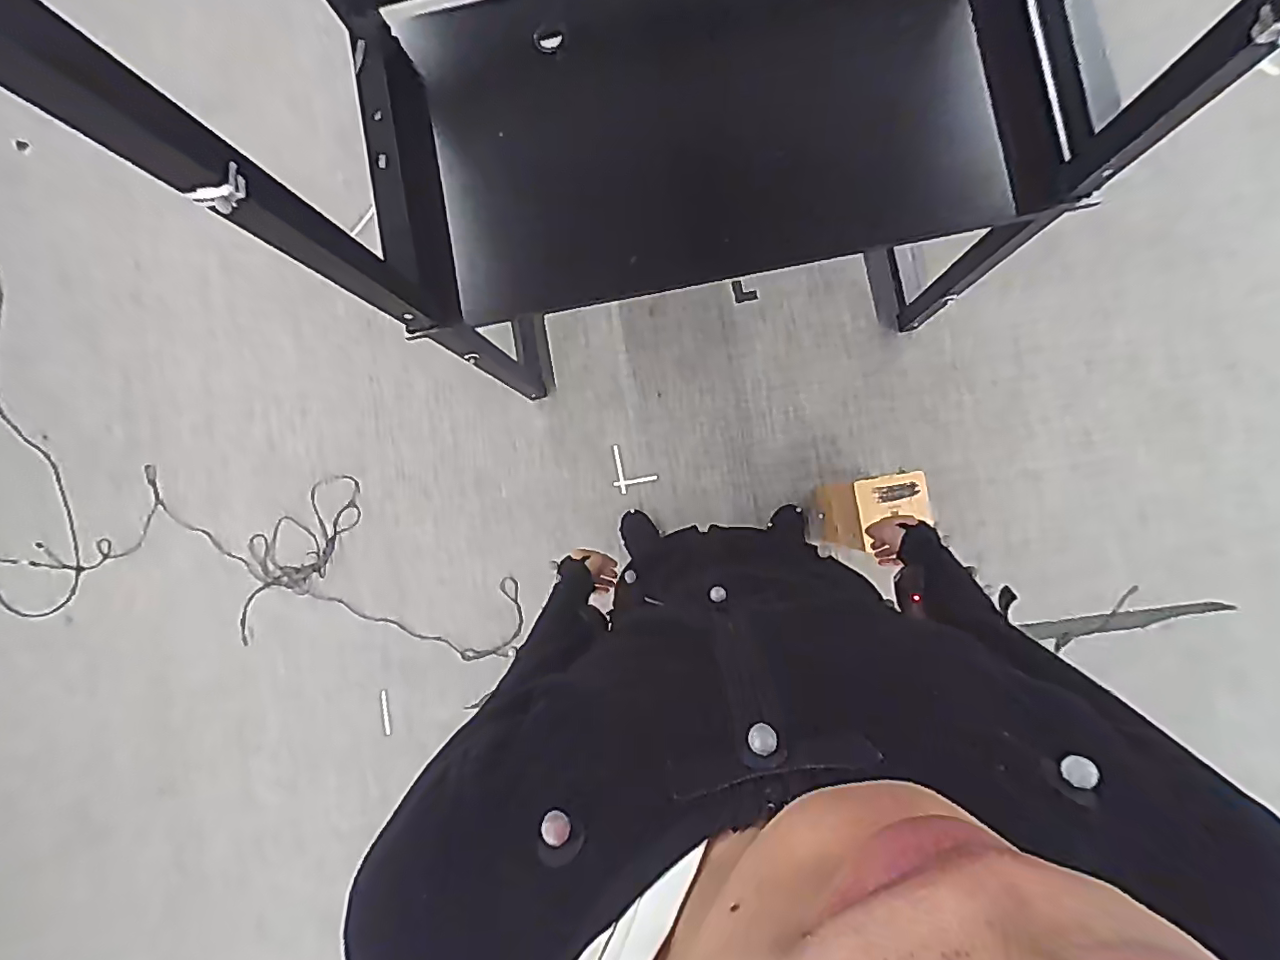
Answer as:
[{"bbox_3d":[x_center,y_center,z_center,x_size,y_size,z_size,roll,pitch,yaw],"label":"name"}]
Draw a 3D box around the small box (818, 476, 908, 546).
[{"bbox_3d":[0.618,0.084,1.517,0.179,0.176,0.168,-12,87,6],"label":"small box"}]
